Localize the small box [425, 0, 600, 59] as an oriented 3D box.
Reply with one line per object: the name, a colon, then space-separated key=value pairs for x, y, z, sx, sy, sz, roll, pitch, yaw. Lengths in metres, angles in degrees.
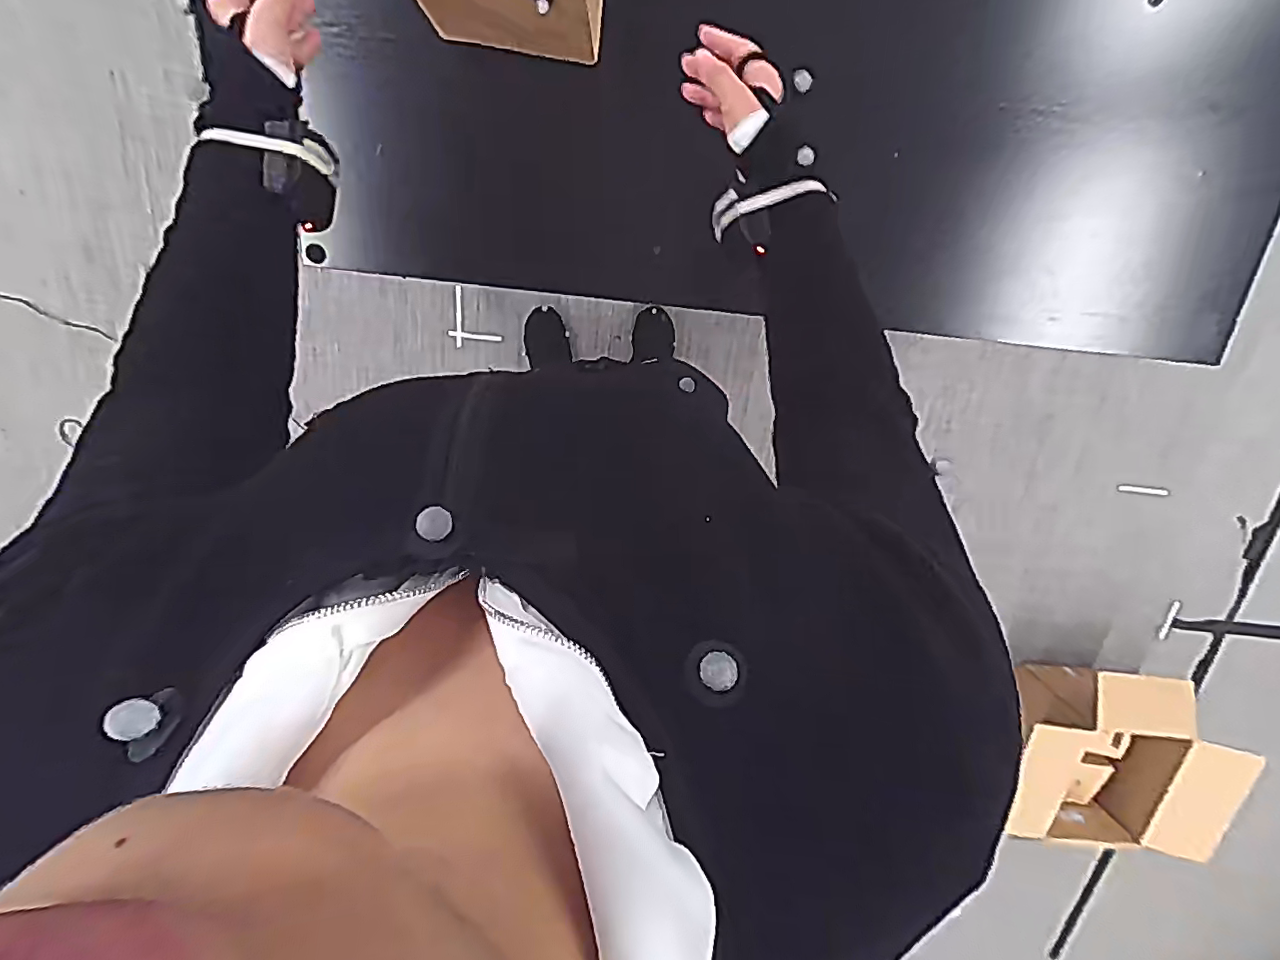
small box: x=-0.124 y=-0.536 z=0.509 sx=0.179 sy=0.176 sz=0.168 roll=7 pitch=108 yaw=-5
